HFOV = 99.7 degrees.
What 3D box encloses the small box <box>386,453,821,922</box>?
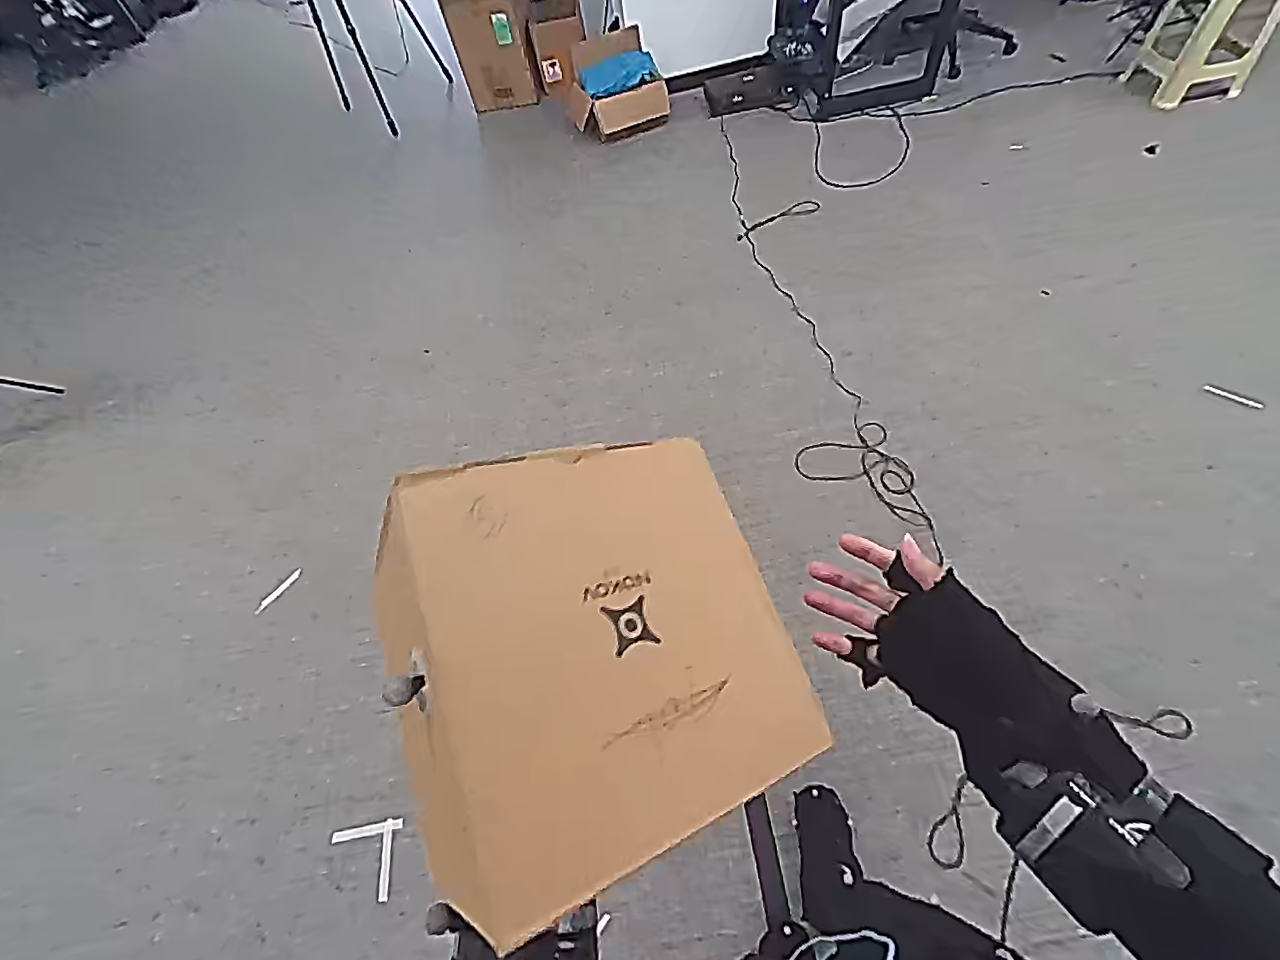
[{"bbox_3d":[-0.041,0.105,0.314,0.168,0.176,0.179,-8,67,-33],"label":"small box"}]
